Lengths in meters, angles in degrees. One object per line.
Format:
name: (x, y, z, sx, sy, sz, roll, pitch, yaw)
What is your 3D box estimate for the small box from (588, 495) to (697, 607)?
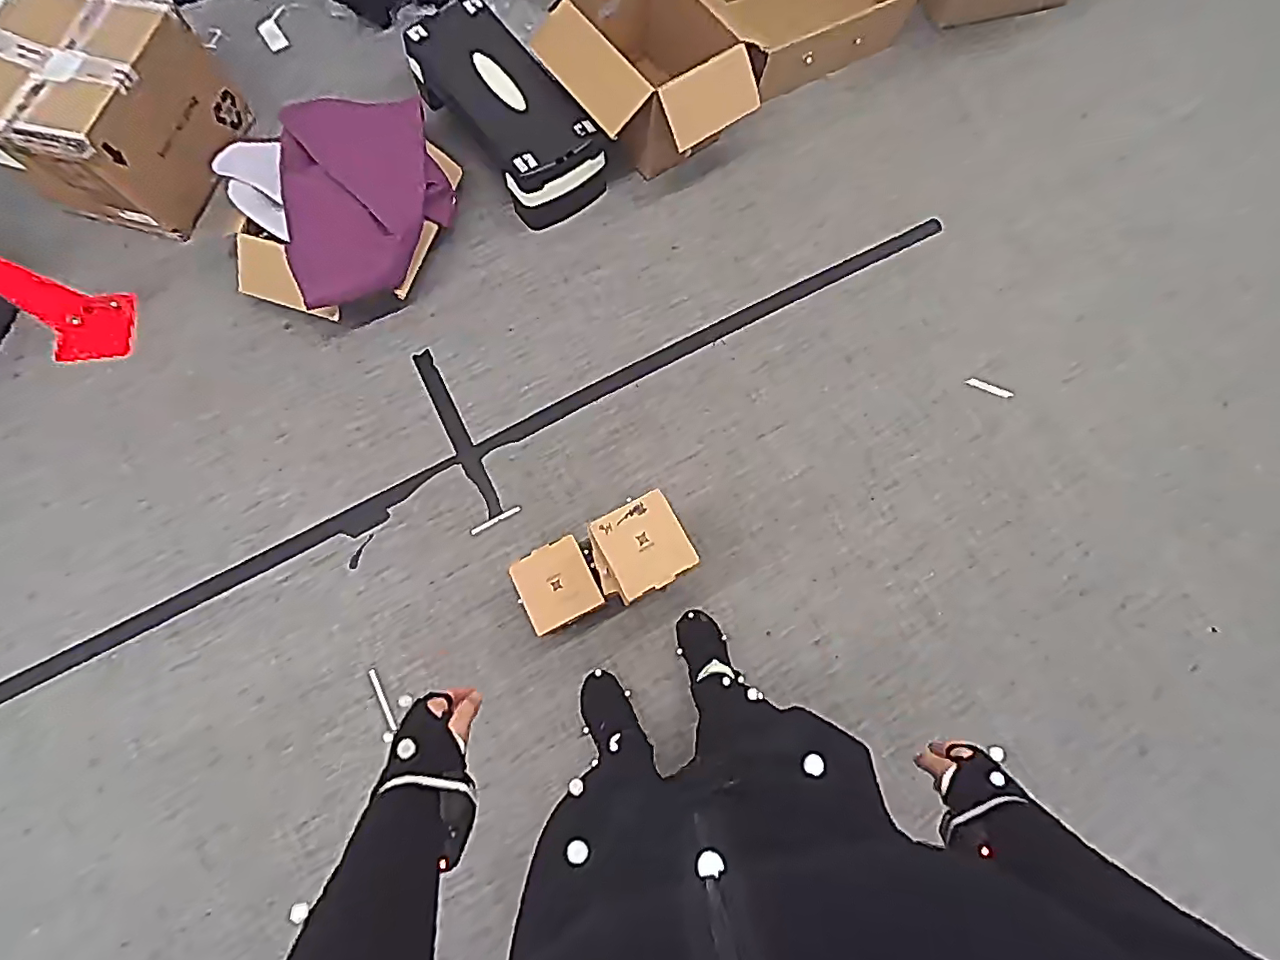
small box: (0.003, 0.156, 1.158, 0.168, 0.176, 0.179, -27, 78, -9)
